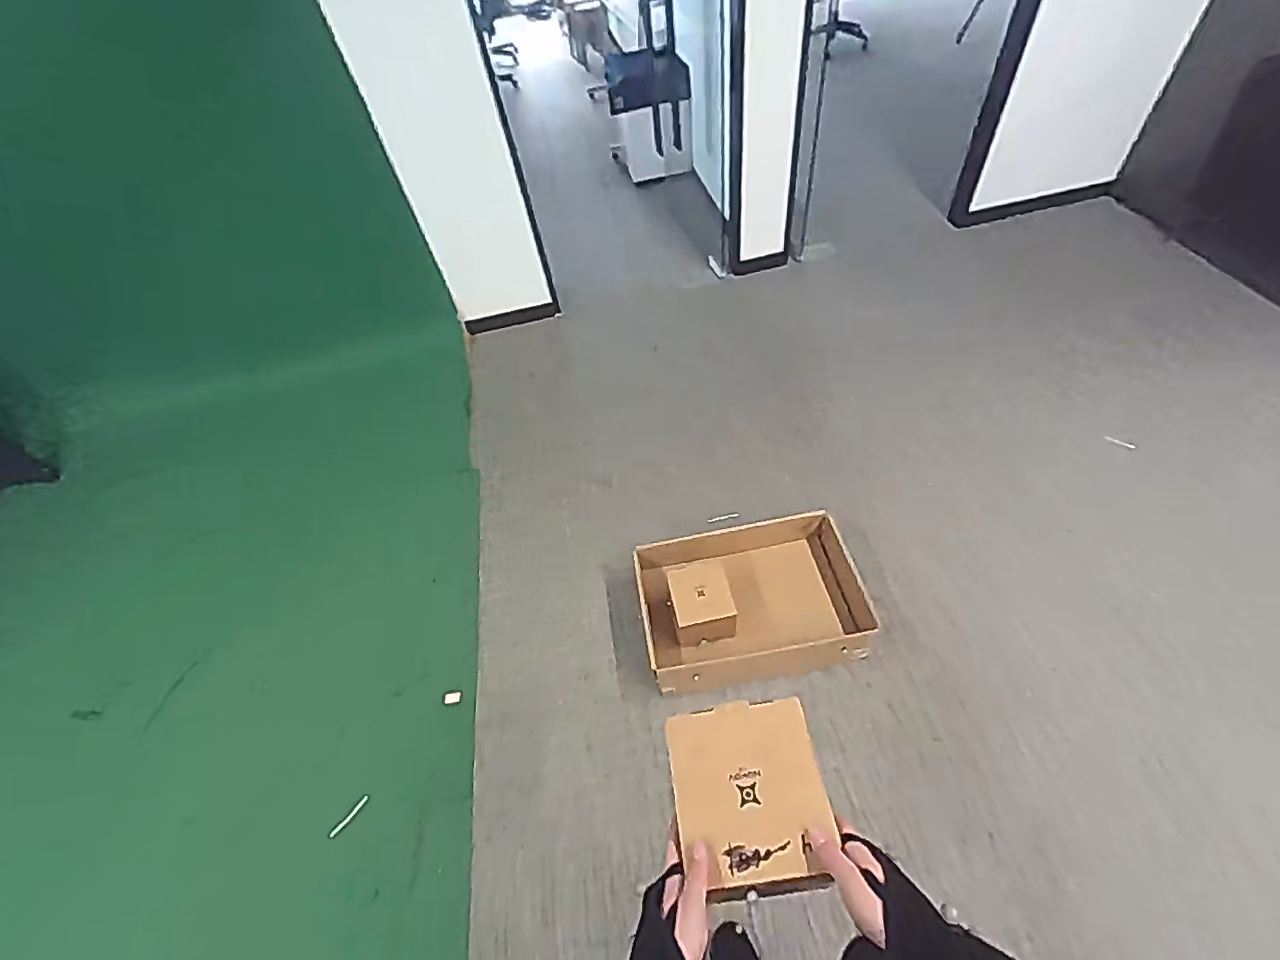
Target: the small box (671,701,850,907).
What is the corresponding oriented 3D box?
[{"bbox_3d":[0.134,0.393,0.654,0.168,0.176,0.179,-10,48,4],"label":"small box"}]
